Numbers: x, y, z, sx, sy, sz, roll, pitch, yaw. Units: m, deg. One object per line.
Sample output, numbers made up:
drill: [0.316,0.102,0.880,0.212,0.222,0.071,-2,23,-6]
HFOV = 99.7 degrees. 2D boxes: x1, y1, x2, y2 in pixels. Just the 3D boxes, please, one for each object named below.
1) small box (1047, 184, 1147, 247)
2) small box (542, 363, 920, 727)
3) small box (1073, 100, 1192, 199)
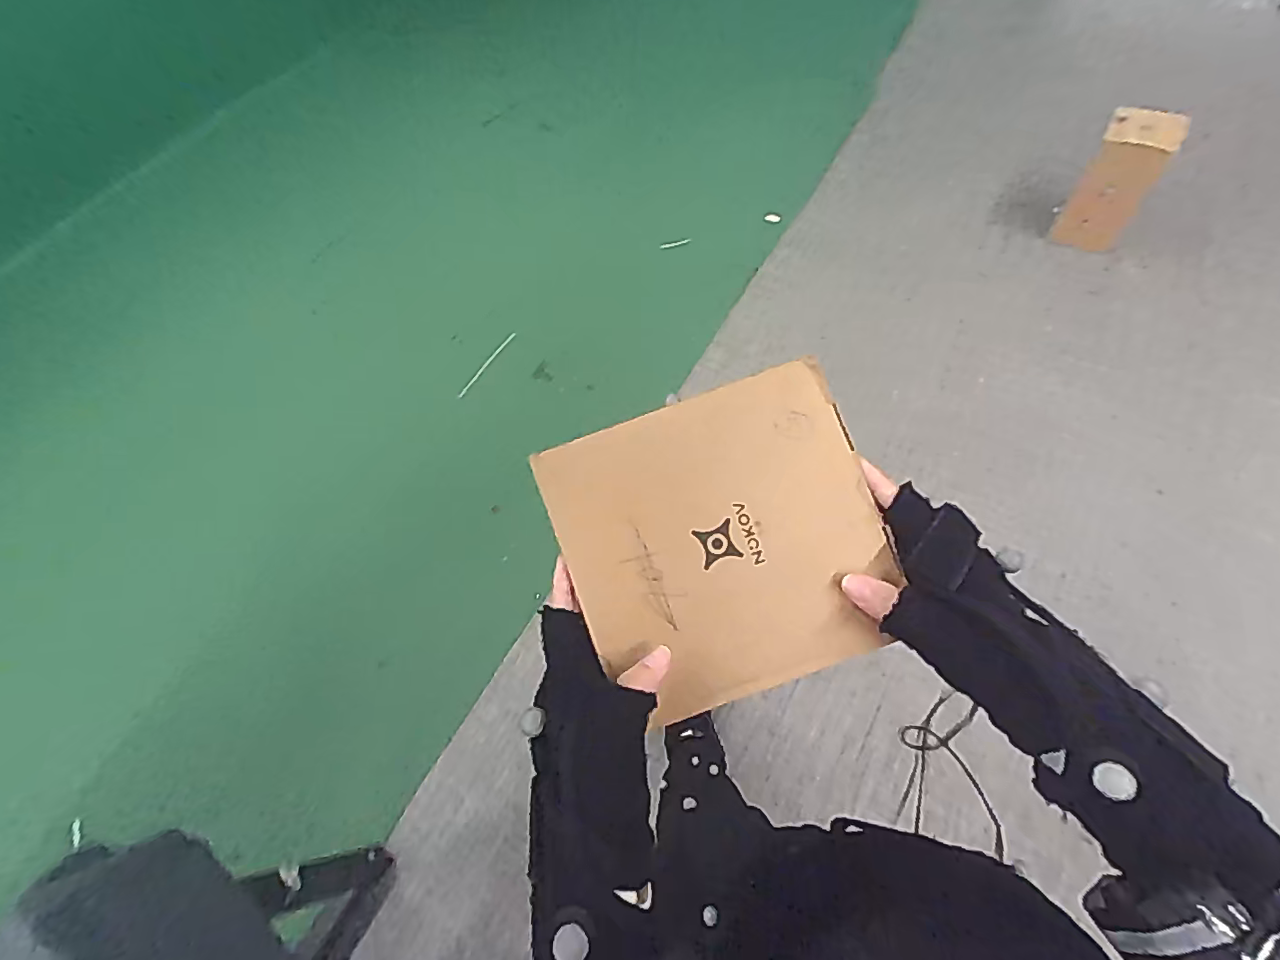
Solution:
small box: [1.437,-0.865,1.700,0.179,0.176,0.168,26,70,19]
small box: [0.053,0.041,0.387,0.179,0.176,0.168,-20,84,2]
small box: [1.412,-0.947,1.560,0.179,0.176,0.168,29,71,21]
